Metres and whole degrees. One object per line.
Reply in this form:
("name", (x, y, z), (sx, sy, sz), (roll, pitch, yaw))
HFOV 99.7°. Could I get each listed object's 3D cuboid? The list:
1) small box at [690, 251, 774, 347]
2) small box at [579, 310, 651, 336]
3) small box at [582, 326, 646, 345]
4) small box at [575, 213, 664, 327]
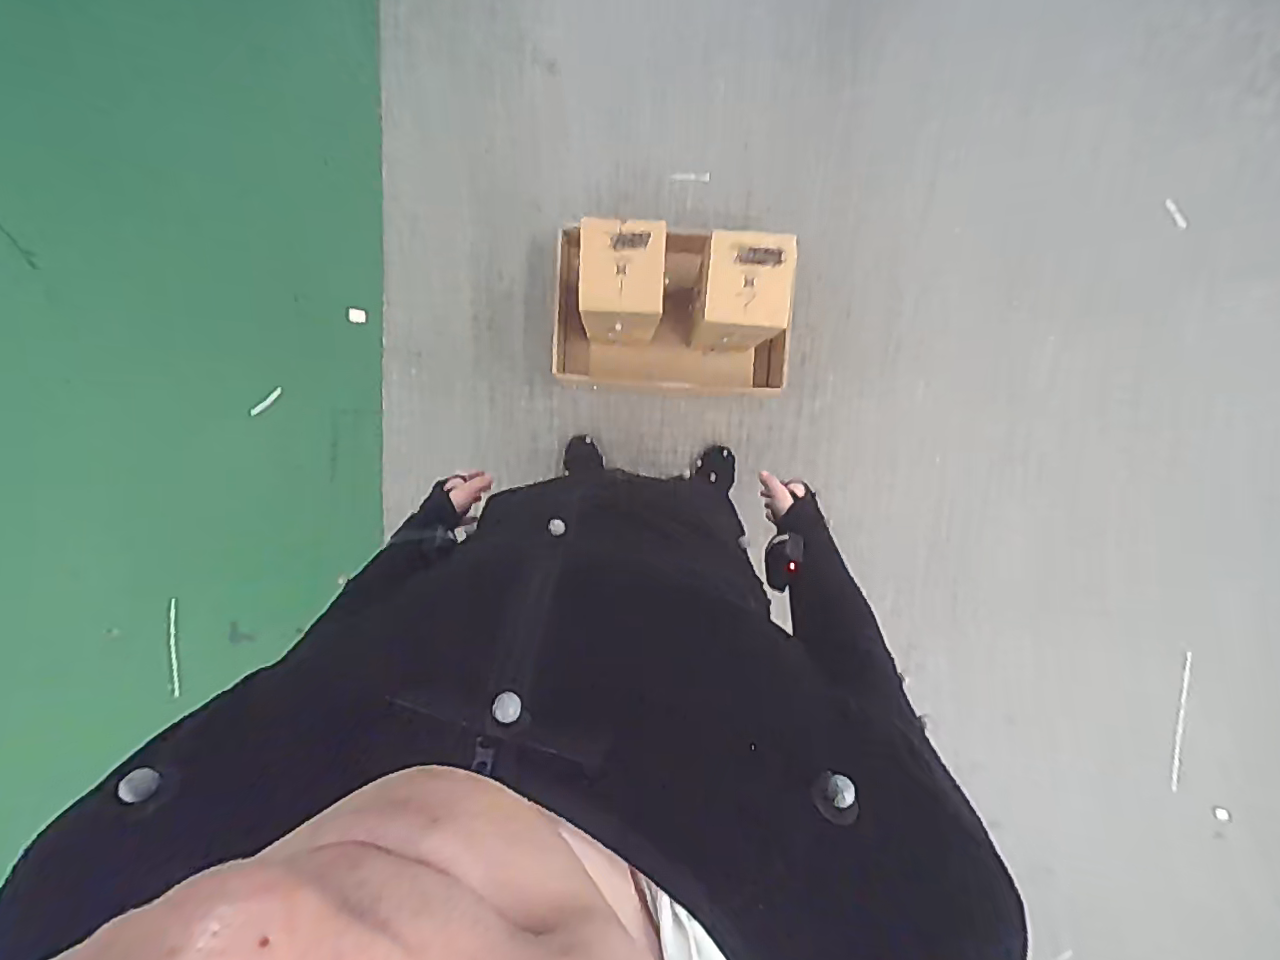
("small box", (0.210, -0.423, 1.283), (0.168, 0.176, 0.179), (3, 96, 0))
("small box", (-0.052, -0.440, 1.275), (0.168, 0.176, 0.179), (2, 96, -2))
("small box", (-0.062, -0.458, 1.435), (0.168, 0.176, 0.179), (3, 96, -2))
("small box", (-0.043, -0.423, 1.112), (0.168, 0.176, 0.179), (2, 97, -2))
